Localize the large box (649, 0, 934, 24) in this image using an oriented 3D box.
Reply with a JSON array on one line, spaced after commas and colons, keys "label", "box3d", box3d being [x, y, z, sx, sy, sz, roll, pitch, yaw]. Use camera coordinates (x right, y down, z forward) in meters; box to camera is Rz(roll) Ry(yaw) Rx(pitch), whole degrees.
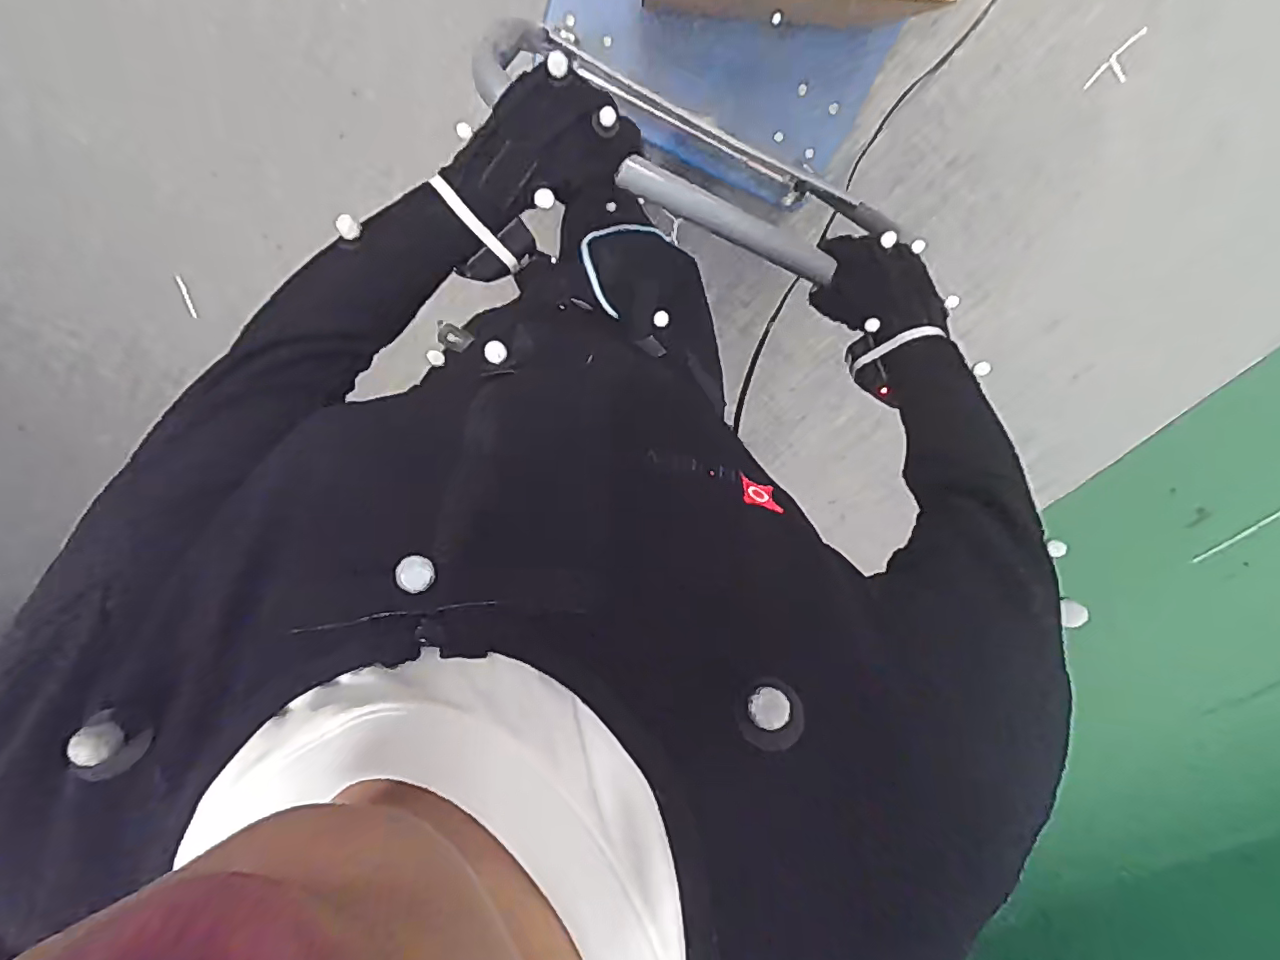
[{"label": "large box", "box3d": [0.223, -0.843, 0.733, 0.408, 0.320, 0.320, 2, 123, -2]}]
